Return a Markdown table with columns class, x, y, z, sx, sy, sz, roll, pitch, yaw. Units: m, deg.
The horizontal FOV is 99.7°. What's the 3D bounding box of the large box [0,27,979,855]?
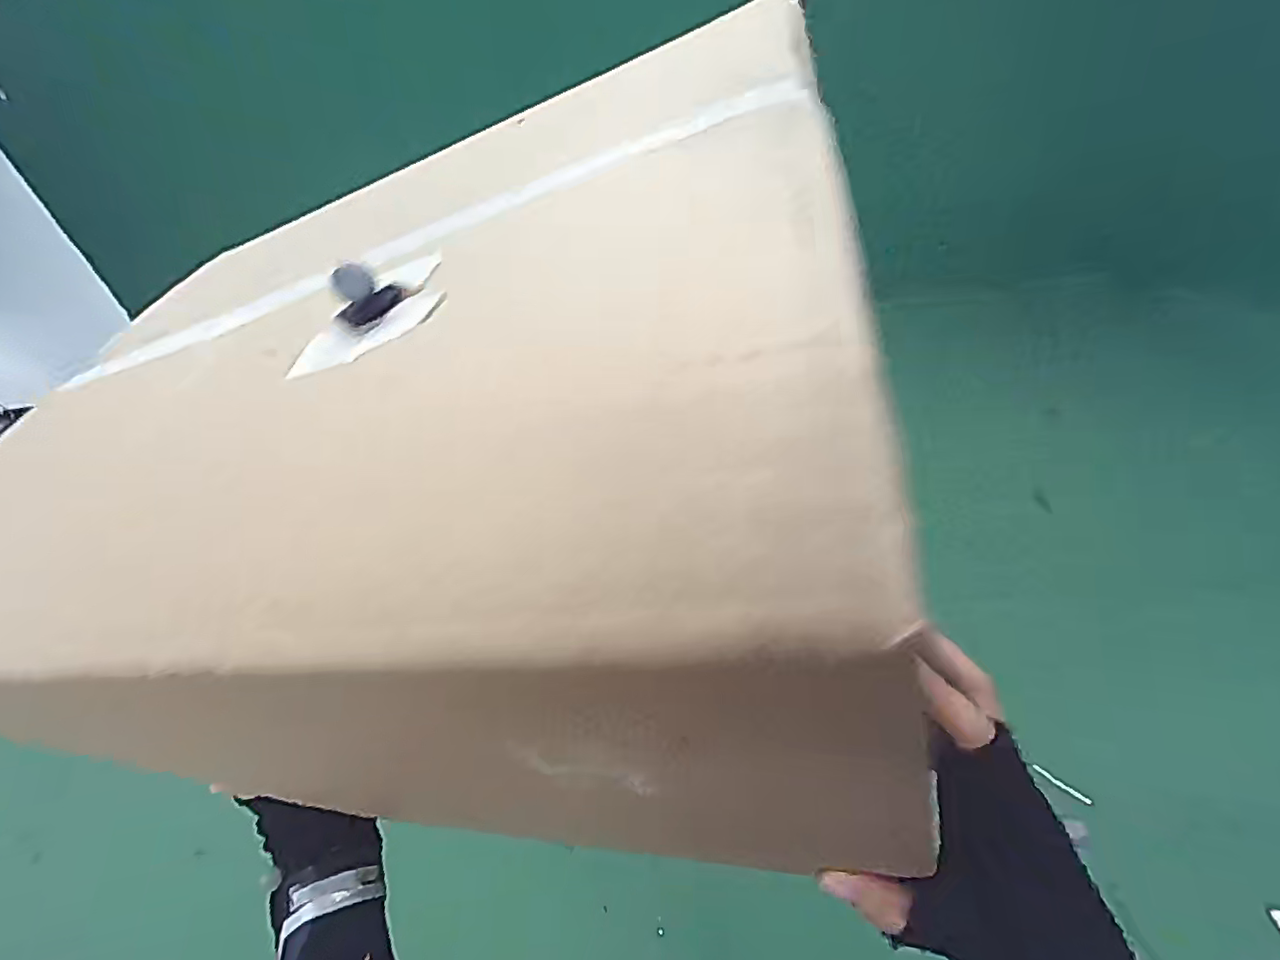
| class | x | y | z | sx | sy | sz | roll | pitch | yaw |
| --- | --- | --- | --- | --- | --- | --- | --- | --- | --- |
| large box | -0.065 | 0.020 | 0.341 | 0.408 | 0.320 | 0.320 | -9 | 50 | 21 |
